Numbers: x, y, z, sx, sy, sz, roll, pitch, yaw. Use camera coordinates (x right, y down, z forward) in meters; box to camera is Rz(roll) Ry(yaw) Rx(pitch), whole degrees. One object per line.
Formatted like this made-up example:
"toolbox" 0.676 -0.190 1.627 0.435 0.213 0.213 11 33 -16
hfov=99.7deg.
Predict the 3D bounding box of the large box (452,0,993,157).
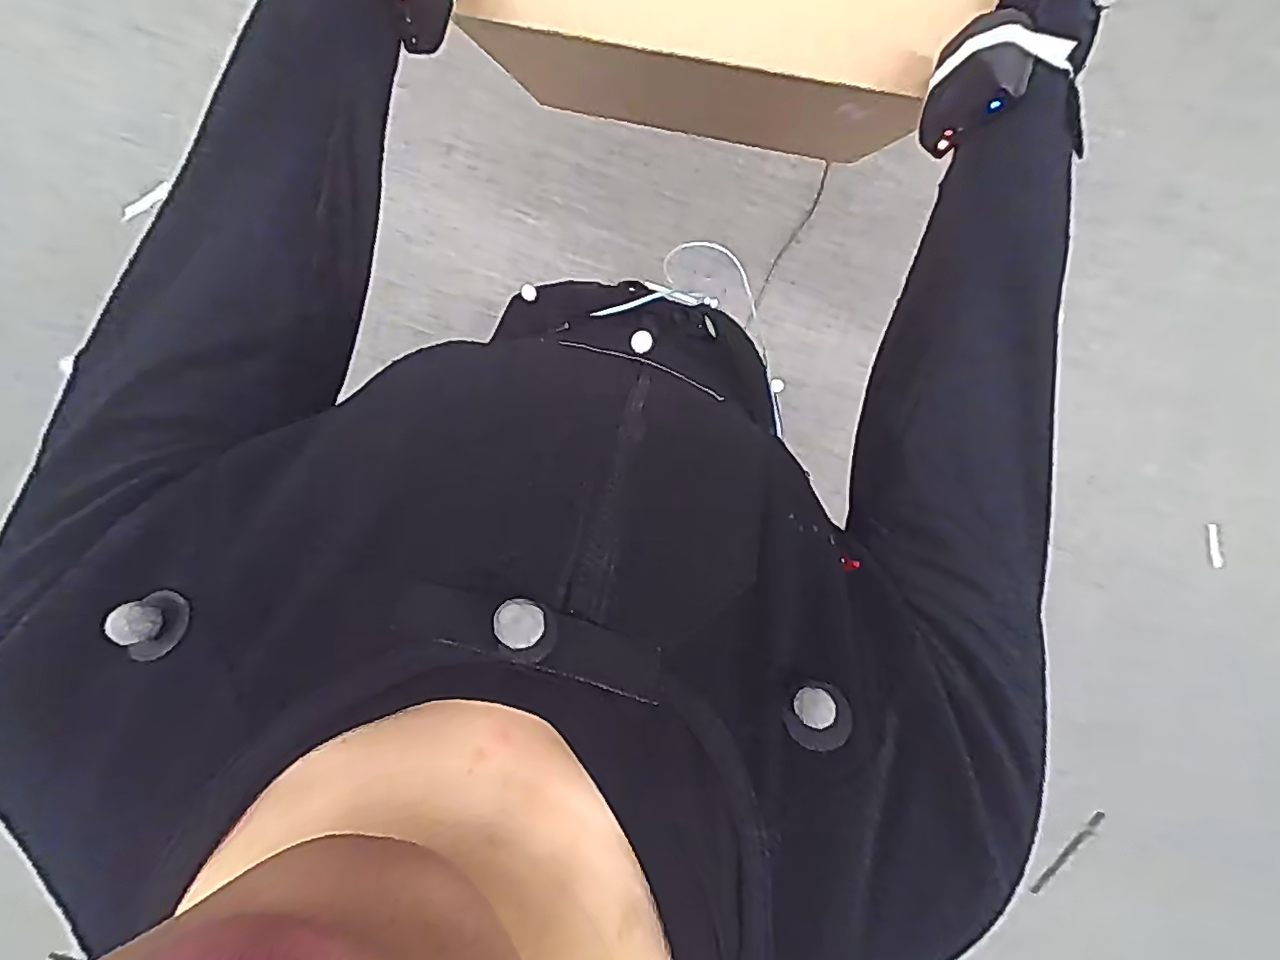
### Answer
"large box" 0.083 -0.518 0.487 0.408 0.320 0.320 11 115 0
